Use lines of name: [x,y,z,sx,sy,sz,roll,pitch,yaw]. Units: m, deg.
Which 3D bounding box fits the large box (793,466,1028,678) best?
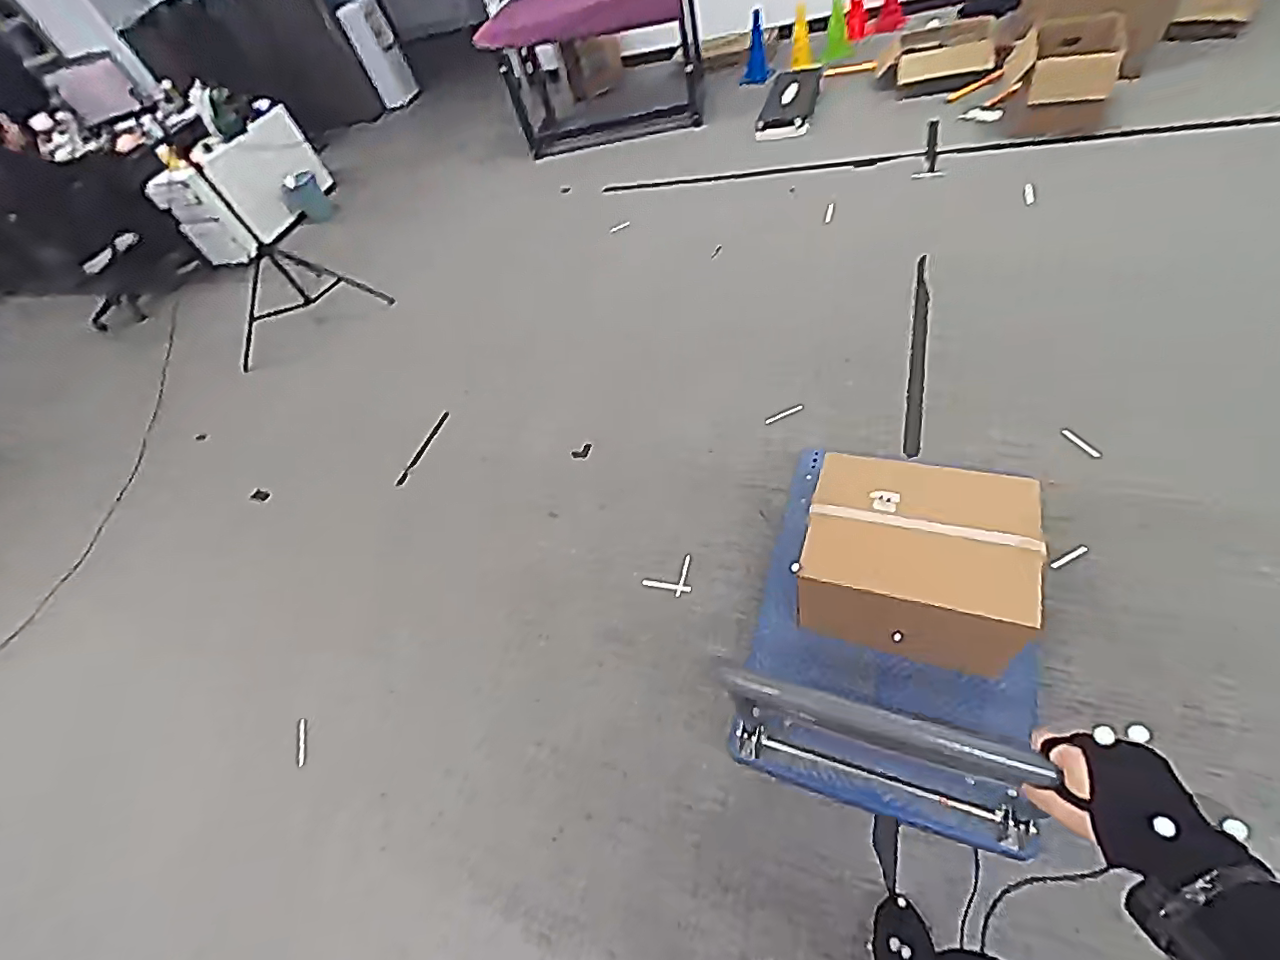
large box: [0.576,0.199,1.195,0.408,0.320,0.320,9,57,24]
